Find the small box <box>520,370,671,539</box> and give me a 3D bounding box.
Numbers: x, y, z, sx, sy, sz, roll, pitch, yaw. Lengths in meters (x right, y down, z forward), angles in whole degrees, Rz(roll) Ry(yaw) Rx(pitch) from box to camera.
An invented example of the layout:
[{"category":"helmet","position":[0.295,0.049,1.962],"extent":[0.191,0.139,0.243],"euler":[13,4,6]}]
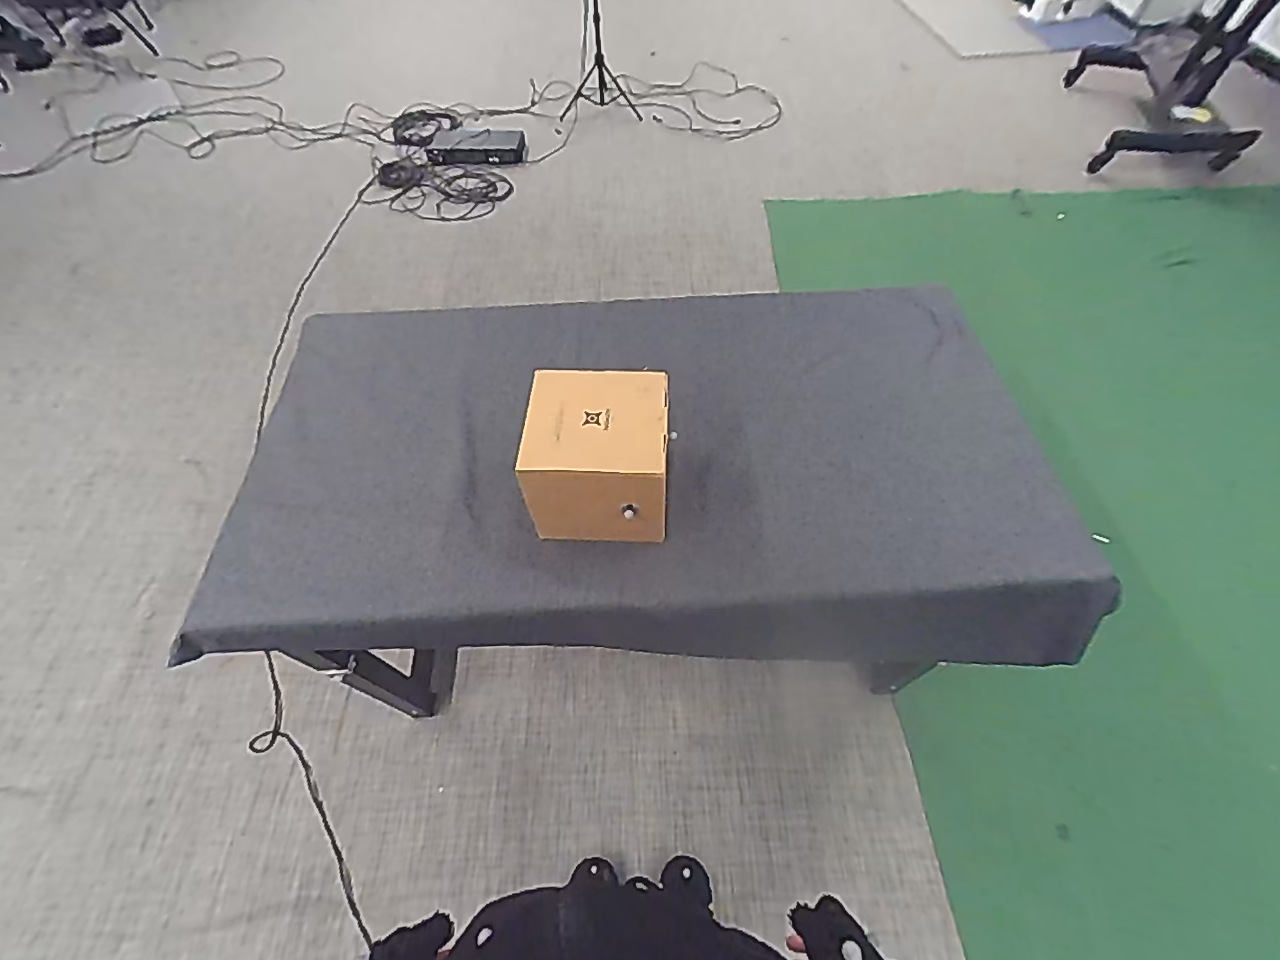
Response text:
[{"category":"small box","position":[-0.049,-0.030,0.736],"extent":[0.179,0.176,0.168],"euler":[0,55,3]}]
